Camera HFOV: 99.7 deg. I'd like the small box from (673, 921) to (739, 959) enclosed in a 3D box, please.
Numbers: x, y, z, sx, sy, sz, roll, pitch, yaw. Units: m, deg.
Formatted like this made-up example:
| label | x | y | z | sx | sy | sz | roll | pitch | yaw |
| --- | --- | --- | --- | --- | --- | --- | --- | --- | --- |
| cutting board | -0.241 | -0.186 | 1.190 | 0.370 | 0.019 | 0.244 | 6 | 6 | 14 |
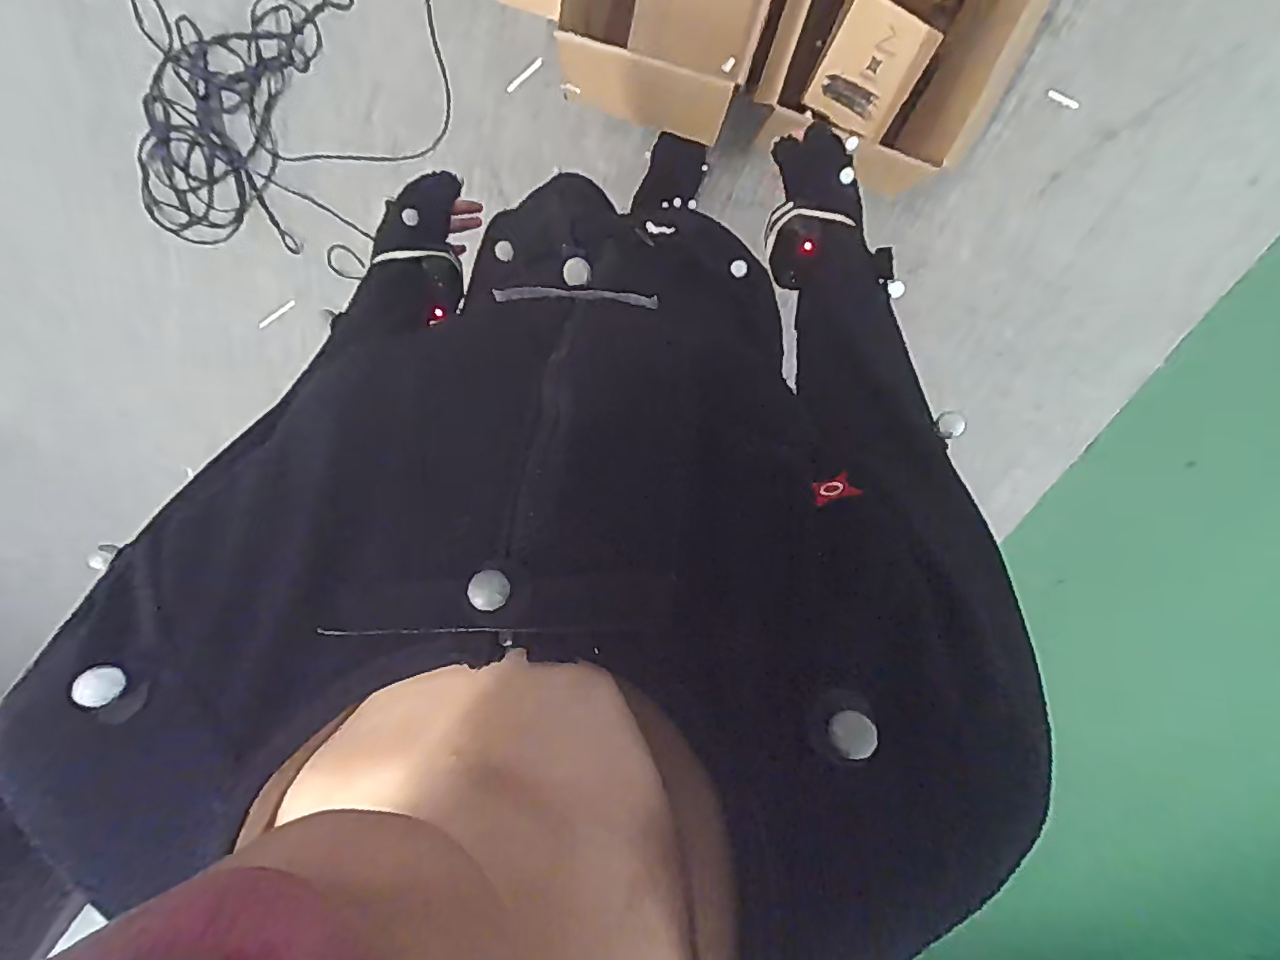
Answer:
| label | x | y | z | sx | sy | sz | roll | pitch | yaw |
| --- | --- | --- | --- | --- | --- | --- | --- | --- | --- |
| small box | 0.205 | 1.524 | 1.700 | 0.168 | 0.176 | 0.179 | 18 | 124 | -7 |
